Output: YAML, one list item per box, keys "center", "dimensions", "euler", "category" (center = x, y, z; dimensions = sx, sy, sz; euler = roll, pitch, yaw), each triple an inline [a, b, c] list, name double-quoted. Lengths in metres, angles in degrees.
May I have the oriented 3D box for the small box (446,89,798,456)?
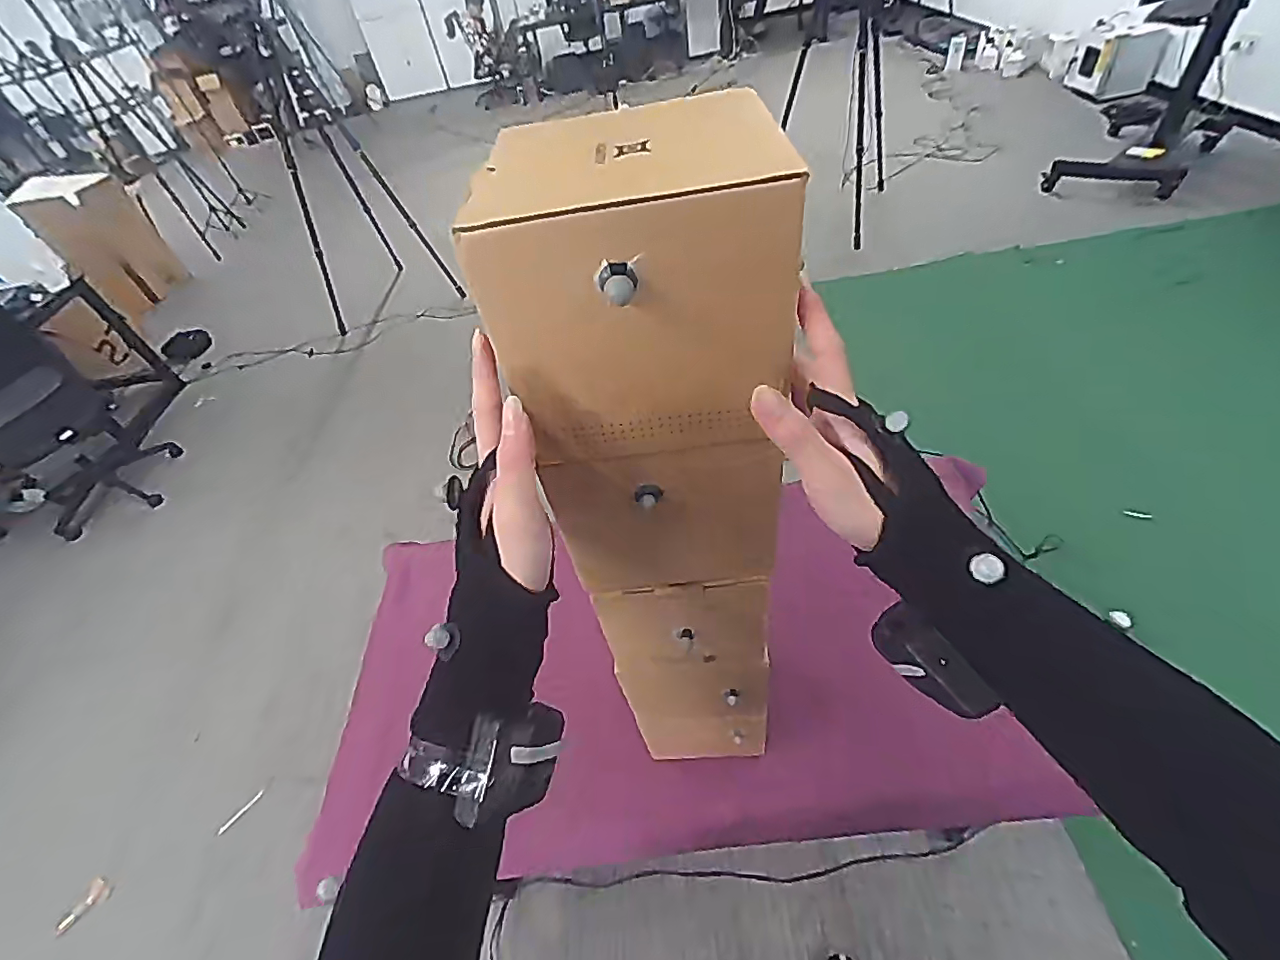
- center: [0.000, -0.135, 0.372]
  dimensions: [0.179, 0.176, 0.168]
  euler: [-7, 46, 6]
  category: "small box"

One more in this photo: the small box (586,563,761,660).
- center: [0.043, 0.090, 0.605]
  dimensions: [0.168, 0.176, 0.179]
  euler: [-5, 47, 6]
  category: "small box"

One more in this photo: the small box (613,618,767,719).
- center: [0.068, 0.205, 0.718]
  dimensions: [0.179, 0.176, 0.168]
  euler: [-6, 47, 7]
  category: "small box"

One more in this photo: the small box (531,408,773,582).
- center: [0.018, -0.023, 0.488]
  dimensions: [0.179, 0.176, 0.168]
  euler: [-6, 46, 5]
  category: "small box"
